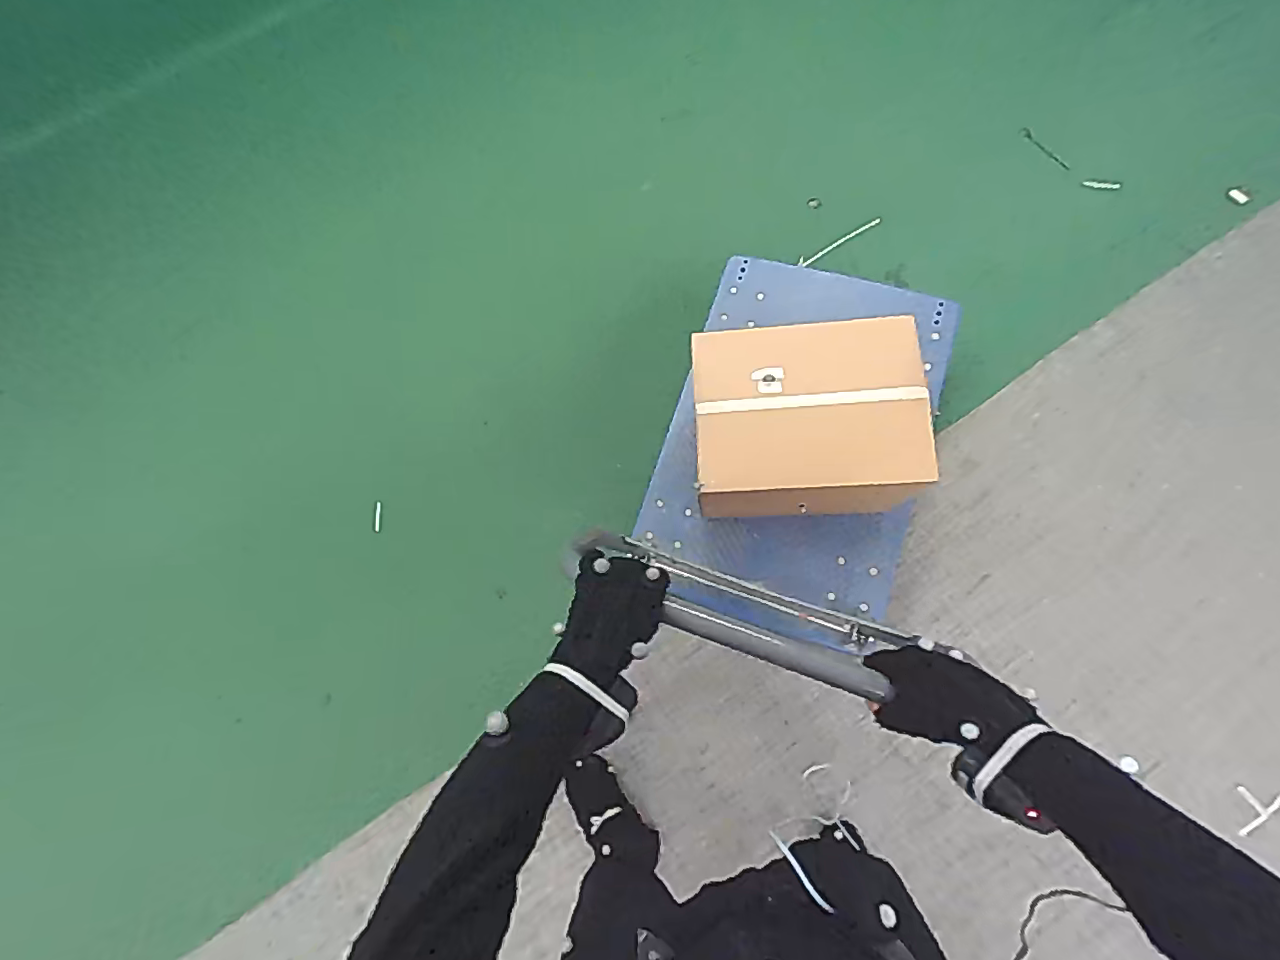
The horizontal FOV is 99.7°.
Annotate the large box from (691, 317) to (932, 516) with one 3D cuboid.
[{"bbox_3d":[0.323,-0.106,1.126,0.408,0.320,0.320,-3,76,8],"label":"large box"}]
